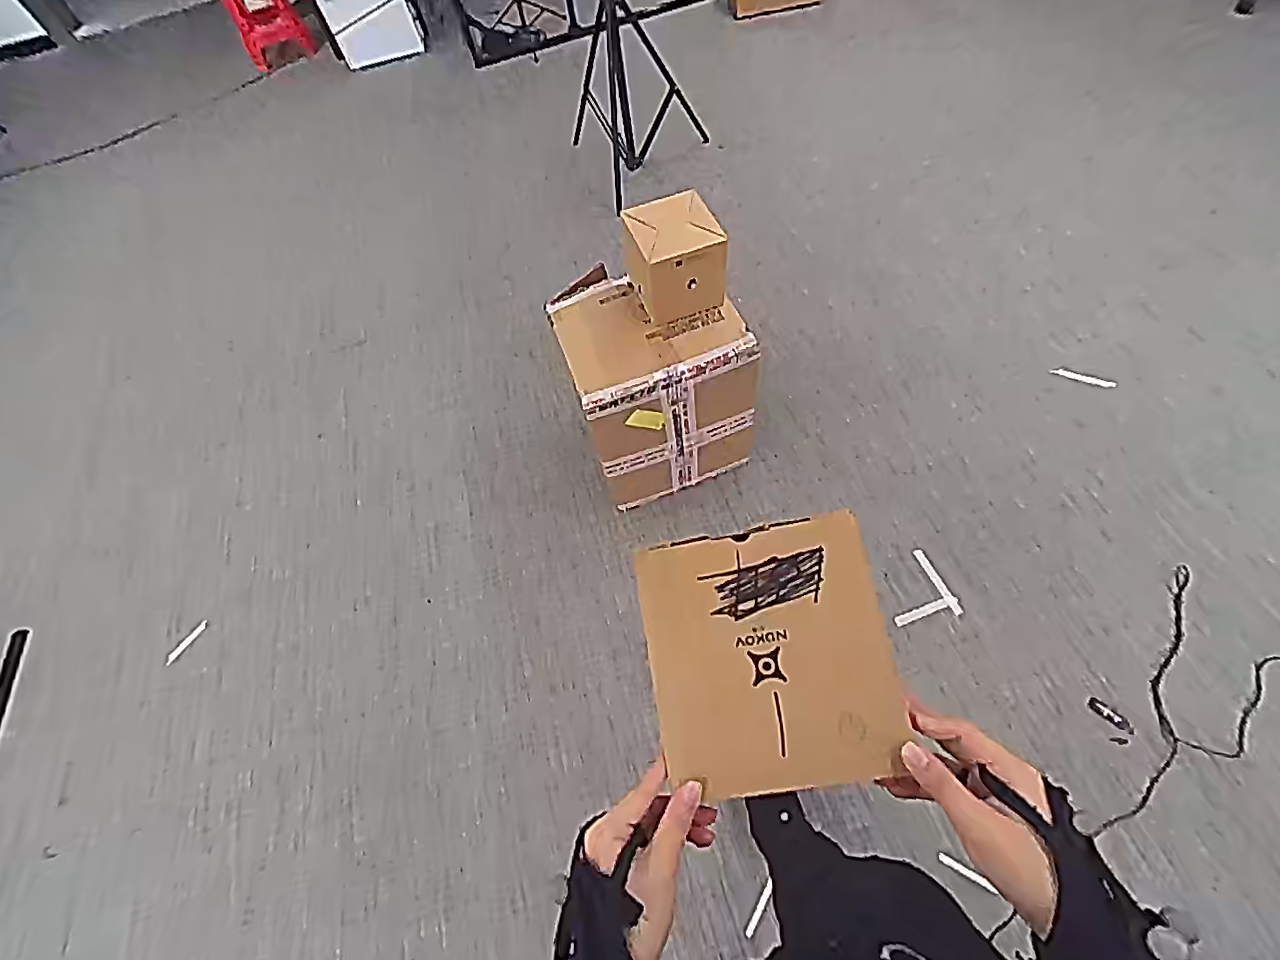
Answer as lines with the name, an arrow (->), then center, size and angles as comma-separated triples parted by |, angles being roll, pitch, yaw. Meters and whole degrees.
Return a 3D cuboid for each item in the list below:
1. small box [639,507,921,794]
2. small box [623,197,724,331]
small box -> 0.101, 0.135, 0.454 | 0.168, 0.176, 0.179 | -11, 75, 7
small box -> 0.069, -0.457, 1.145 | 0.168, 0.176, 0.179 | -20, 61, -6
